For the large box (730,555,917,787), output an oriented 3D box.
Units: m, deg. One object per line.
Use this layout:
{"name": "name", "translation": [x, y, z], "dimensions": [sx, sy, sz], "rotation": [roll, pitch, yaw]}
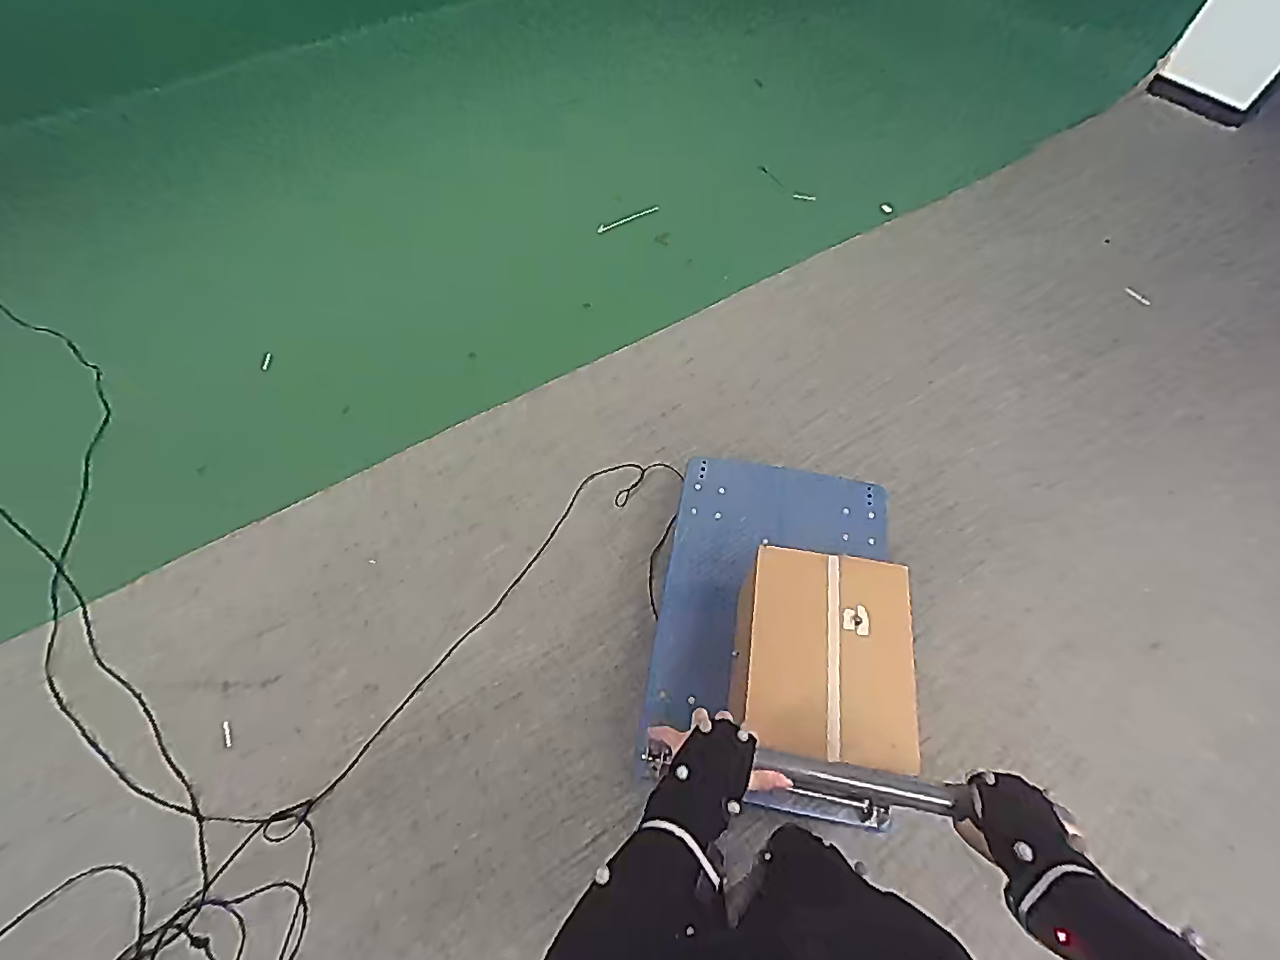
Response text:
{"name": "large box", "translation": [0.378, 0.428, 1.199], "dimensions": [0.320, 0.320, 0.408], "rotation": [8, 60, 6]}
